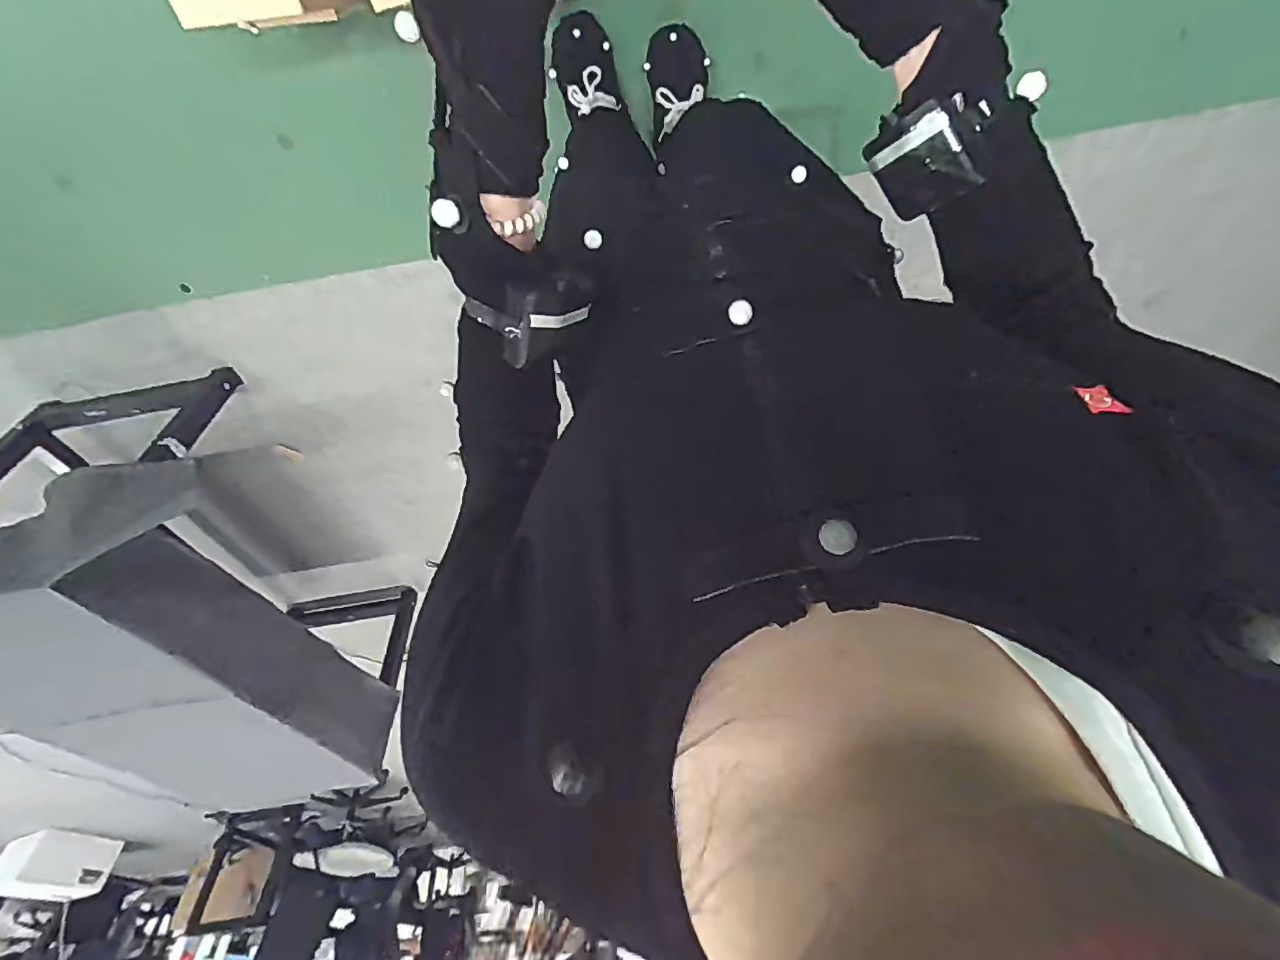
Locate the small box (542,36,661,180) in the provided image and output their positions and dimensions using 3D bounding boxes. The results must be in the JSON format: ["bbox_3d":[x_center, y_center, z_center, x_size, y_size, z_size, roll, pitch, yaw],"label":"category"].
[{"bbox_3d":[-0.082,-0.738,1.076,0.179,0.176,0.168,26,138,-6],"label":"small box"}]

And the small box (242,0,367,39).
[{"bbox_3d":[-0.582,-0.854,0.891,0.168,0.176,0.179,-5,134,0],"label":"small box"}]

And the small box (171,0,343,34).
[{"bbox_3d":[-0.563,-0.748,0.764,0.179,0.176,0.168,-6,134,1],"label":"small box"}]
